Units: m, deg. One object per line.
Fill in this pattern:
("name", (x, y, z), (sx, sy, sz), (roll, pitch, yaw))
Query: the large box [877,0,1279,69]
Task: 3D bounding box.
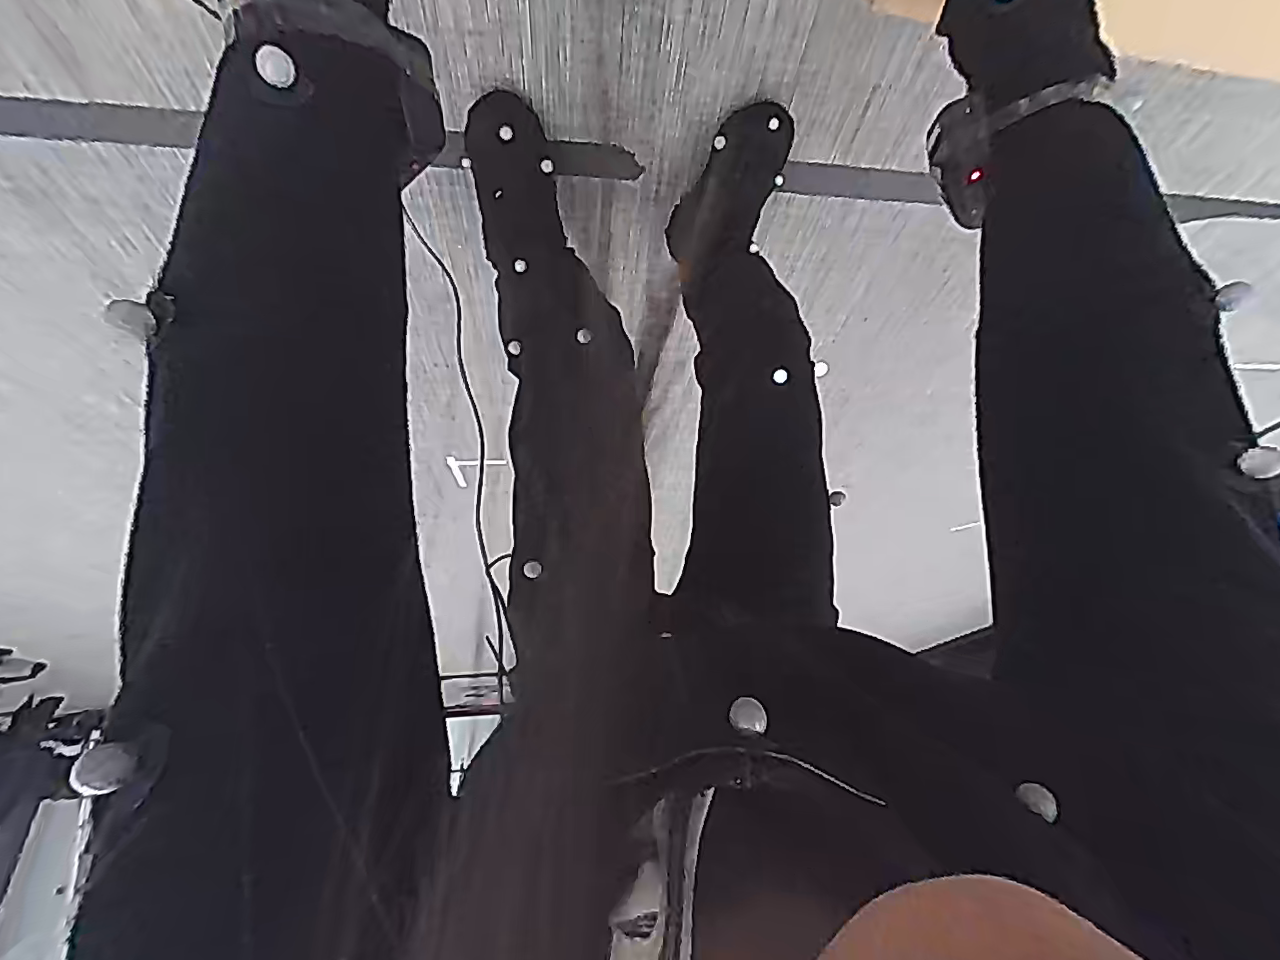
("large box", (0.372, -0.550, 0.365), (0.408, 0.320, 0.320), (0, 153, -10))
